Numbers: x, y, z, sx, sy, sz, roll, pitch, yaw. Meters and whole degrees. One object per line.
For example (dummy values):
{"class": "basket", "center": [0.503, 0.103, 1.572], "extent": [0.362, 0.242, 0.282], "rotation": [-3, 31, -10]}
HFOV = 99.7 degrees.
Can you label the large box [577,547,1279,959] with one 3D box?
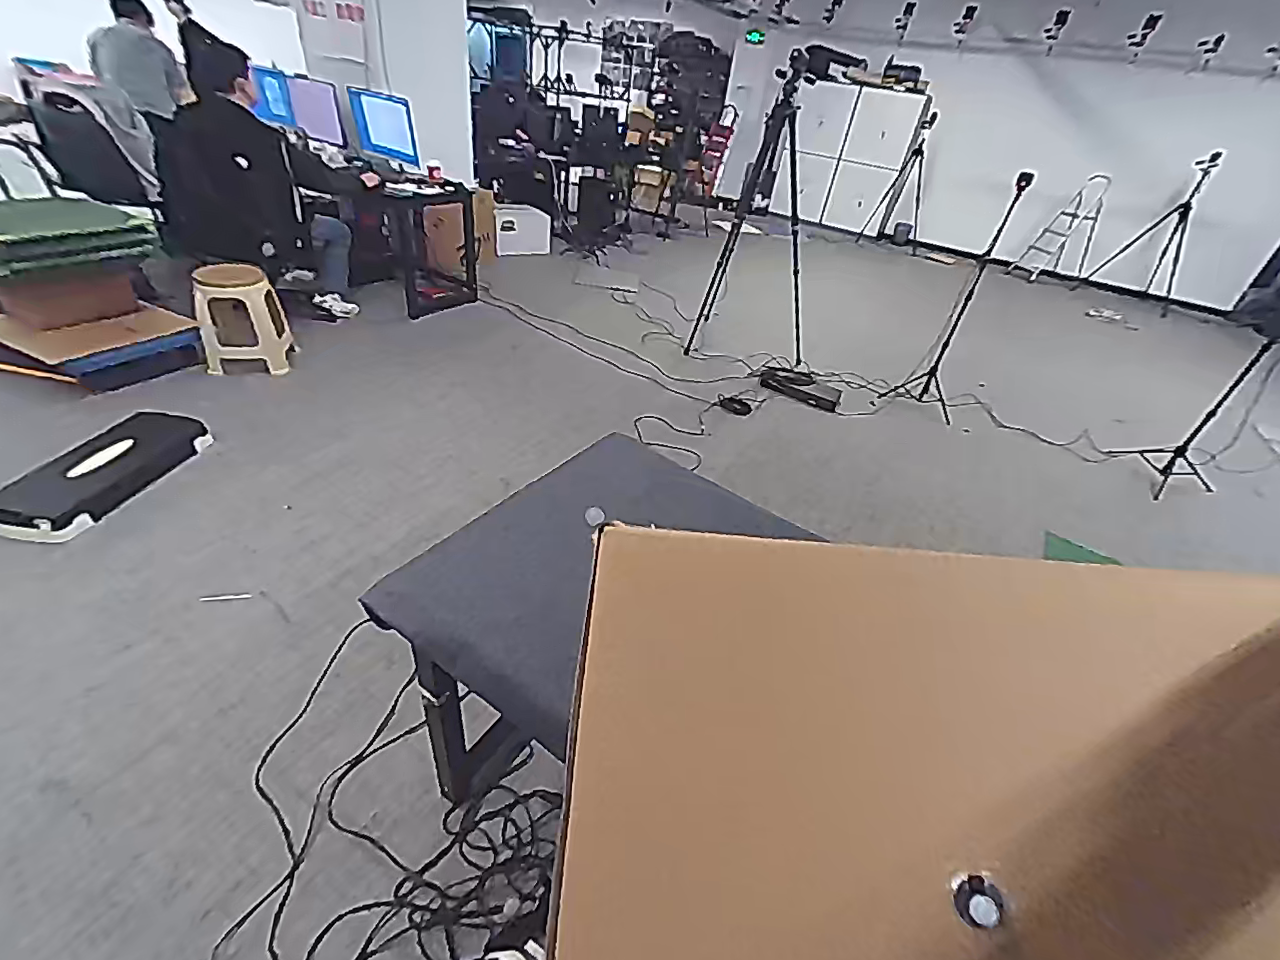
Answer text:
{"class": "large box", "center": [0.182, 0.225, 0.418], "extent": [0.408, 0.320, 0.320], "rotation": [2, 78, 7]}
